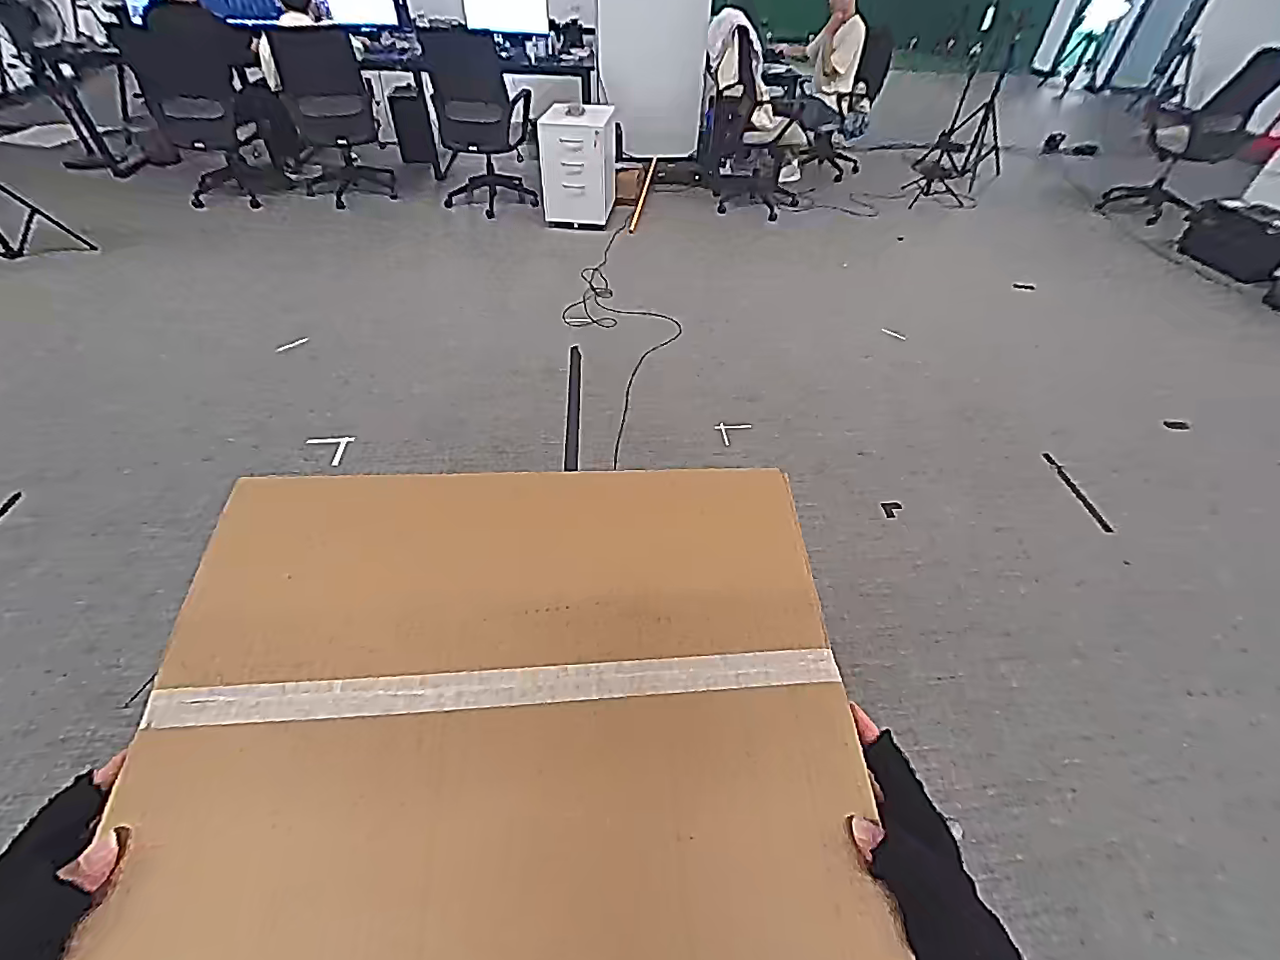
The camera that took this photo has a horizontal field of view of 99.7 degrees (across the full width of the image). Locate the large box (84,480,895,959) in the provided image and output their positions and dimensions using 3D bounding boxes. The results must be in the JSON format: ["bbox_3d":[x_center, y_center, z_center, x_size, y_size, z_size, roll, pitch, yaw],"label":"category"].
[{"bbox_3d":[-0.086,0.216,0.458,0.408,0.320,0.320,-2,56,-6],"label":"large box"}]
